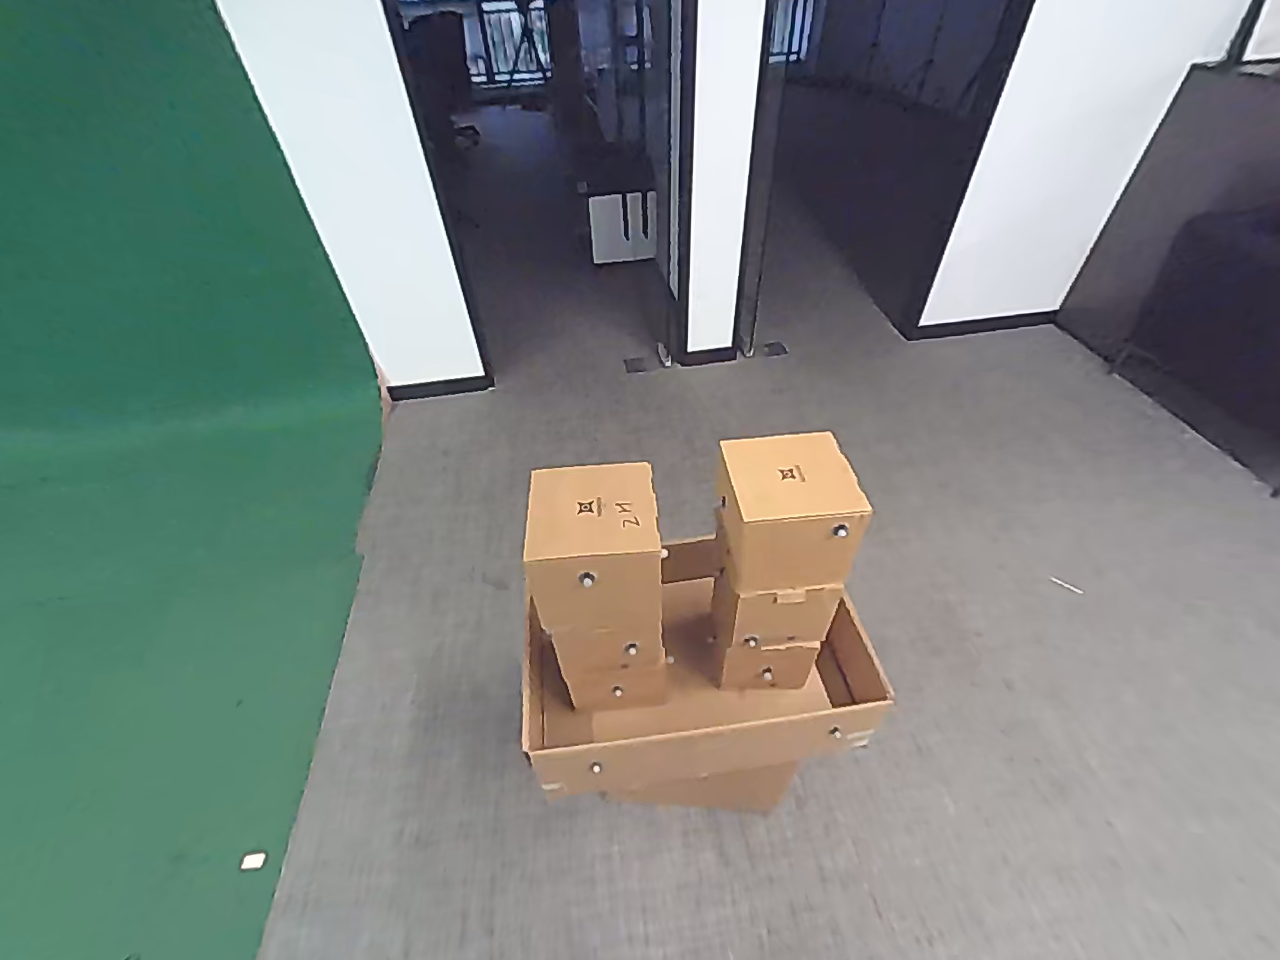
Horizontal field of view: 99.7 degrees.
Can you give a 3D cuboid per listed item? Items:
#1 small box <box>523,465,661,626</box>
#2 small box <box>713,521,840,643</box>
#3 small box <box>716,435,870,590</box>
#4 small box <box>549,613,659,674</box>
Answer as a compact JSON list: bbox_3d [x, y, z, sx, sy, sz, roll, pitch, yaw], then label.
[{"bbox_3d":[-0.062,0.098,0.785,0.179,0.176,0.168,-3,46,-2],"label":"small box"},{"bbox_3d":[0.224,0.169,0.936,0.168,0.176,0.179,-4,44,-2],"label":"small box"},{"bbox_3d":[0.215,0.053,0.822,0.179,0.176,0.168,-5,45,-3],"label":"small box"},{"bbox_3d":[-0.058,0.209,0.907,0.168,0.176,0.179,-5,45,-4],"label":"small box"}]
